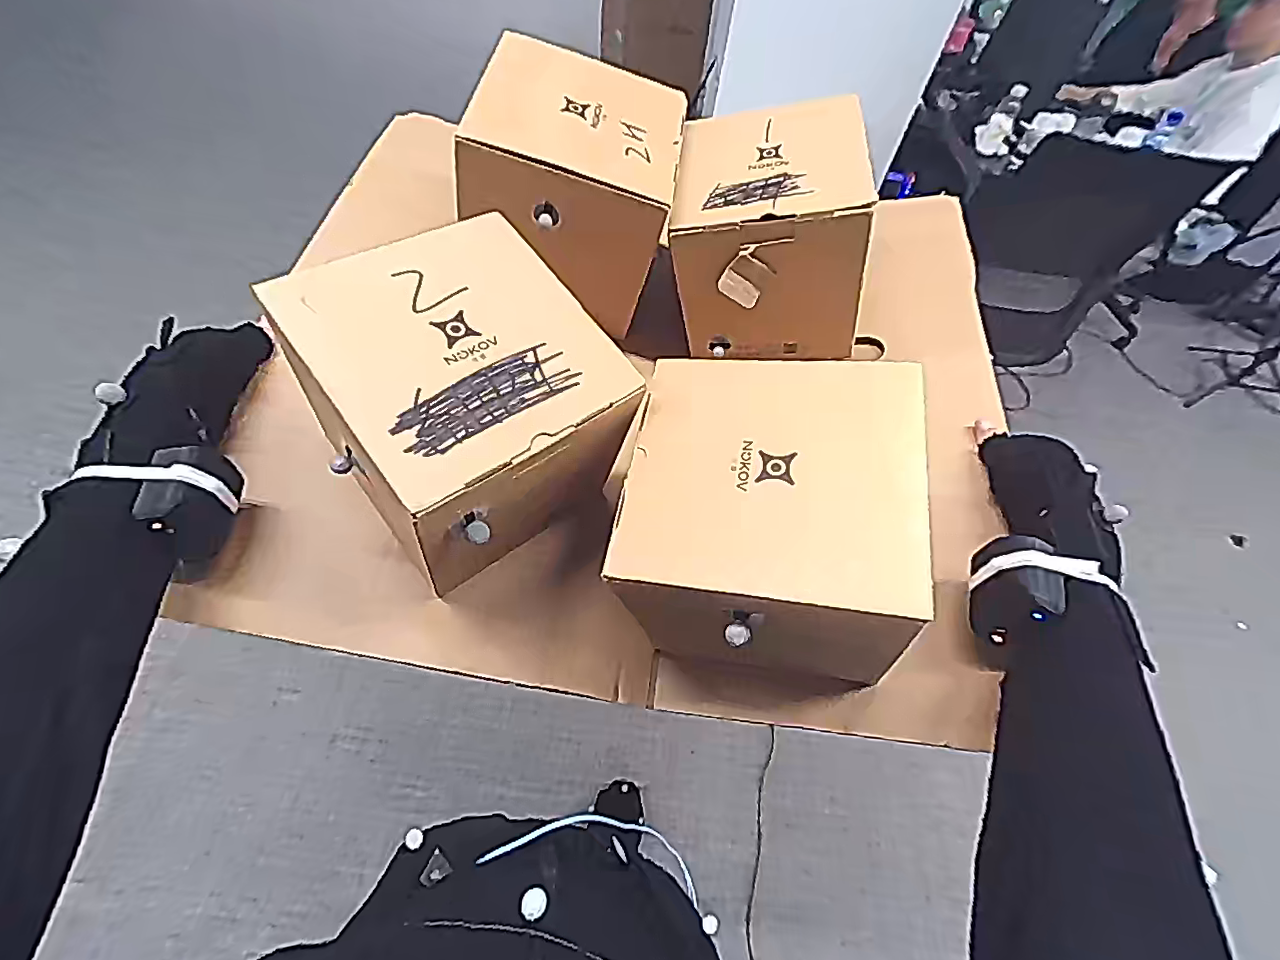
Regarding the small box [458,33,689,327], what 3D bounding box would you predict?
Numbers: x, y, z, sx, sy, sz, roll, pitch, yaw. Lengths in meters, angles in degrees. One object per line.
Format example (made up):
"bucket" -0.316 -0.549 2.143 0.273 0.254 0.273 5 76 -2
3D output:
"small box" -0.067 -0.280 0.533 0.179 0.176 0.168 14 62 -10
